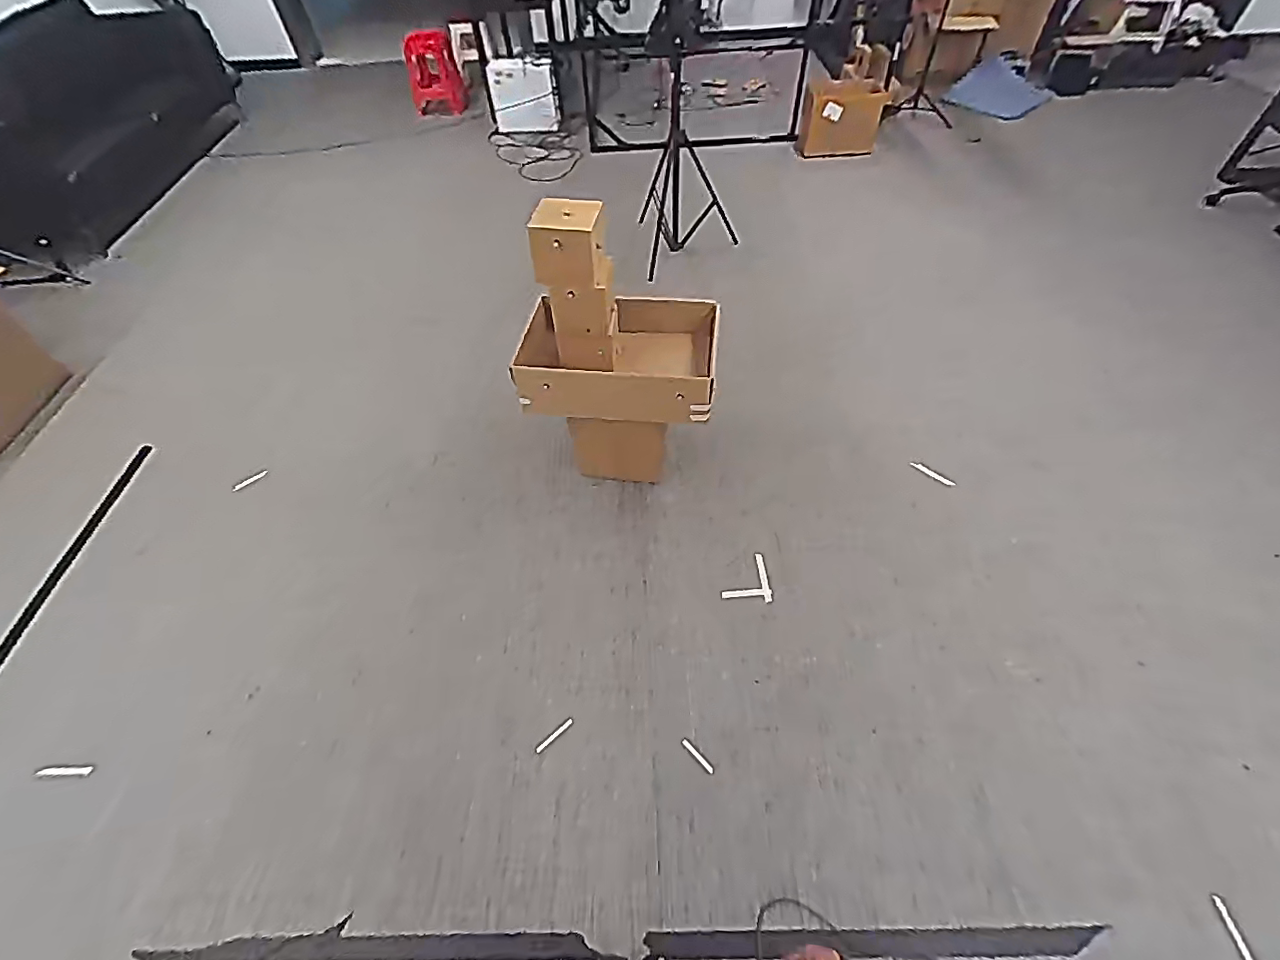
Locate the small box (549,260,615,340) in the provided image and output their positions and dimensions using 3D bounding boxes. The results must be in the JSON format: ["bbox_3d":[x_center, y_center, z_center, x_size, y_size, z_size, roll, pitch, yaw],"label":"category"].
[{"bbox_3d":[-0.168,-0.547,1.634,0.168,0.176,0.179,3,51,4],"label":"small box"}]

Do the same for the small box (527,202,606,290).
[{"bbox_3d":[-0.196,-0.650,1.509,0.179,0.176,0.168,5,52,6],"label":"small box"}]
